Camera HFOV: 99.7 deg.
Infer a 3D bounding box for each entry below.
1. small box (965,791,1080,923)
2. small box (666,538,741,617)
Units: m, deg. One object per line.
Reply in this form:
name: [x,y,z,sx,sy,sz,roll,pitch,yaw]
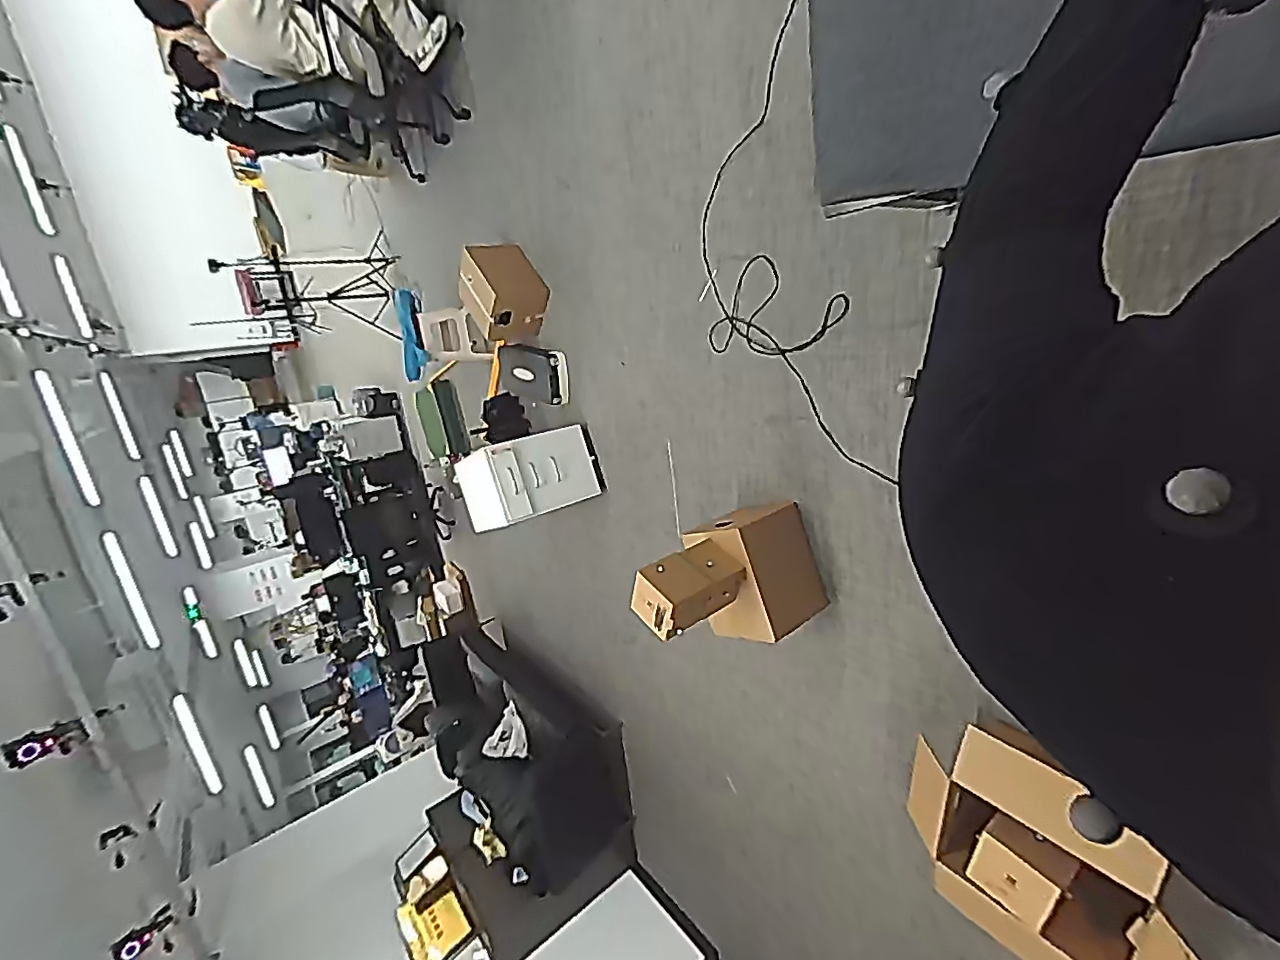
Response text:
small box: [0.948,0.921,1.338,0.168,0.176,0.179,30,128,47]
small box: [0.218,0.324,1.837,0.179,0.176,0.168,37,132,36]
